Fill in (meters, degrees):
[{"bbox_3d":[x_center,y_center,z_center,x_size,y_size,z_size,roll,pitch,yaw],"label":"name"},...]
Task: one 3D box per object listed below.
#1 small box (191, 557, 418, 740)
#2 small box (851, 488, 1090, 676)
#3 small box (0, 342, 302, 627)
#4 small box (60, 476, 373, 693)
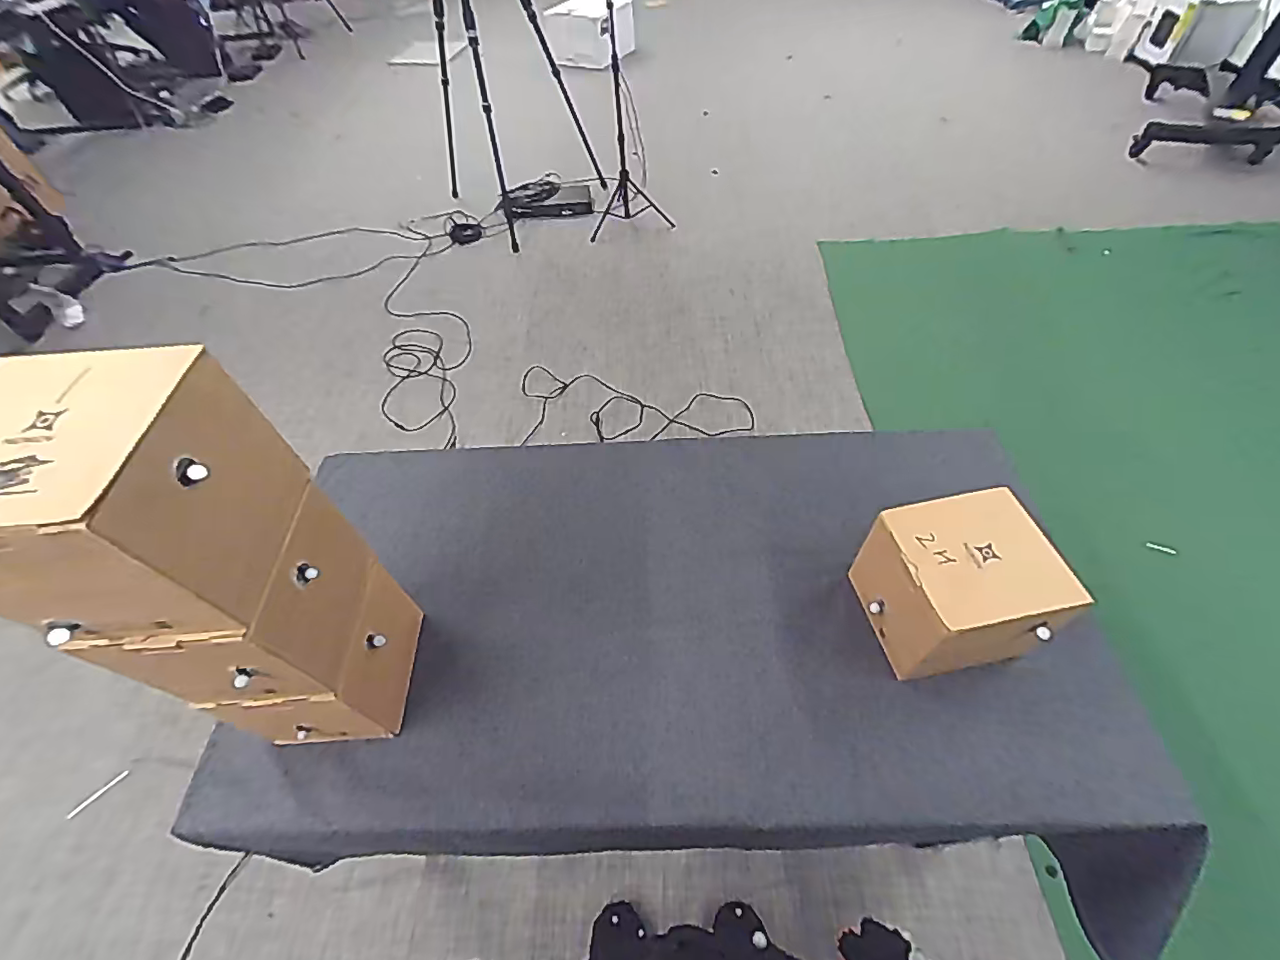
[{"bbox_3d":[-0.407,0.219,0.699,0.168,0.176,0.179,-4,53,1],"label":"small box"},{"bbox_3d":[0.405,0.135,0.701,0.179,0.176,0.168,-11,52,-3],"label":"small box"},{"bbox_3d":[-0.421,0.012,0.447,0.168,0.176,0.179,-4,52,-1],"label":"small box"},{"bbox_3d":[-0.413,0.117,0.572,0.168,0.176,0.179,-3,52,0],"label":"small box"}]
